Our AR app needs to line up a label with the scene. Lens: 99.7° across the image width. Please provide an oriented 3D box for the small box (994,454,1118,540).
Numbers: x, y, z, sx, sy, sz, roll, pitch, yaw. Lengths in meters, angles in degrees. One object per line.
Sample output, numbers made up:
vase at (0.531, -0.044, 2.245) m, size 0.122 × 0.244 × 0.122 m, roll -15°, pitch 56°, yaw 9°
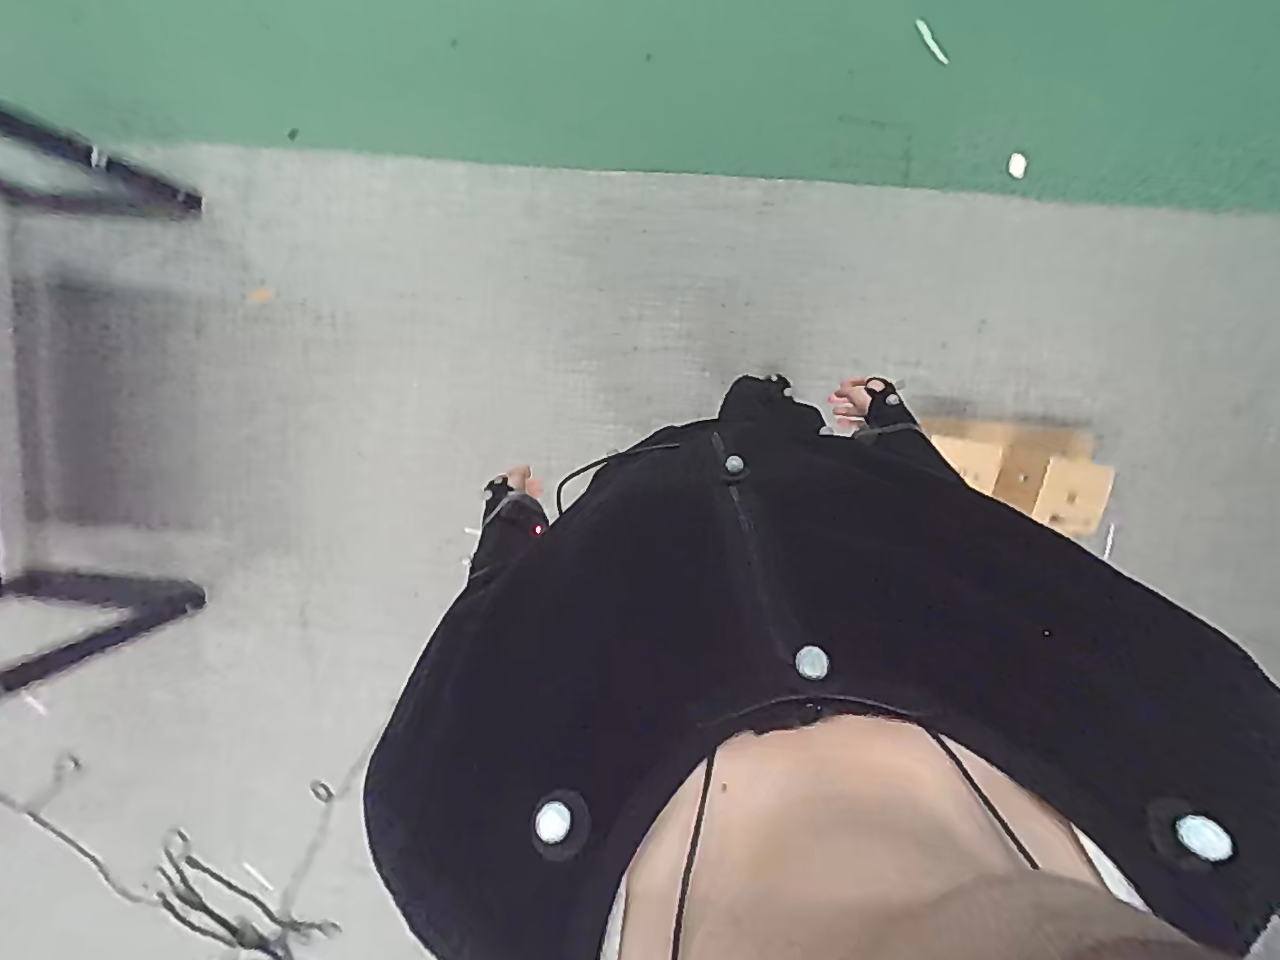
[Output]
small box at (1.054, 0.035, 1.386) m, size 0.168 × 0.176 × 0.179 m, roll 12°, pitch 99°, yaw 0°

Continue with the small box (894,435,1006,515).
small box at (0.782, -0.019, 1.387) m, size 0.179 × 0.176 × 0.168 m, roll 10°, pitch 99°, yaw 0°
